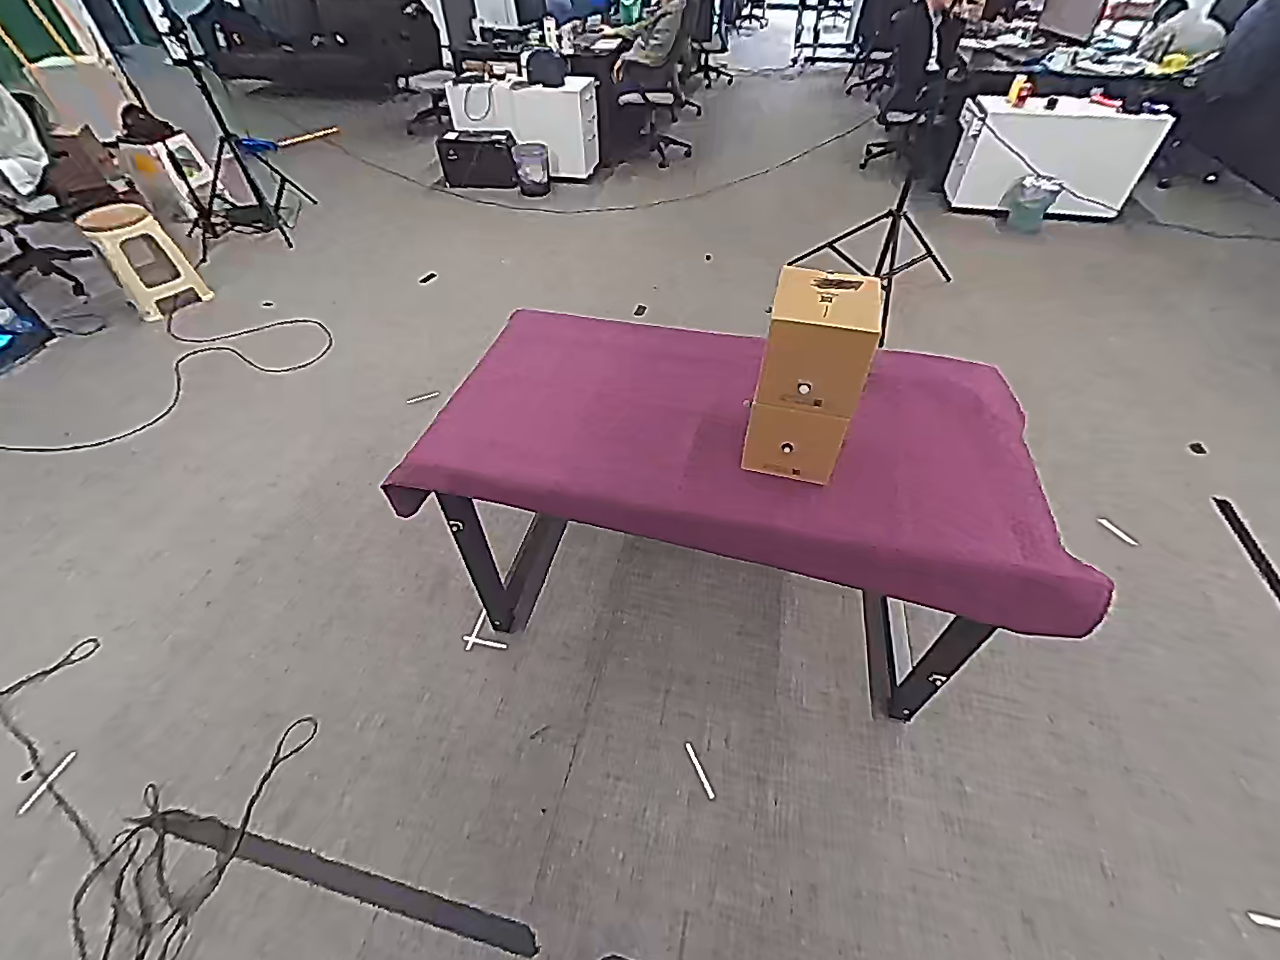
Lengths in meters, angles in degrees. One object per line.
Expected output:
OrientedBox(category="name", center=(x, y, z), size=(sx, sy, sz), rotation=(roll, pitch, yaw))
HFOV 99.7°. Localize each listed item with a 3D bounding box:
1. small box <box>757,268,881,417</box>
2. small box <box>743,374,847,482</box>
OrientedBox(category="small box", center=(0.301, -0.236, 0.927), size=(0.168, 0.176, 0.179), rotation=(11, 48, 11))
OrientedBox(category="small box", center=(0.298, -0.121, 1.045), size=(0.168, 0.176, 0.179), rotation=(12, 48, 11))
